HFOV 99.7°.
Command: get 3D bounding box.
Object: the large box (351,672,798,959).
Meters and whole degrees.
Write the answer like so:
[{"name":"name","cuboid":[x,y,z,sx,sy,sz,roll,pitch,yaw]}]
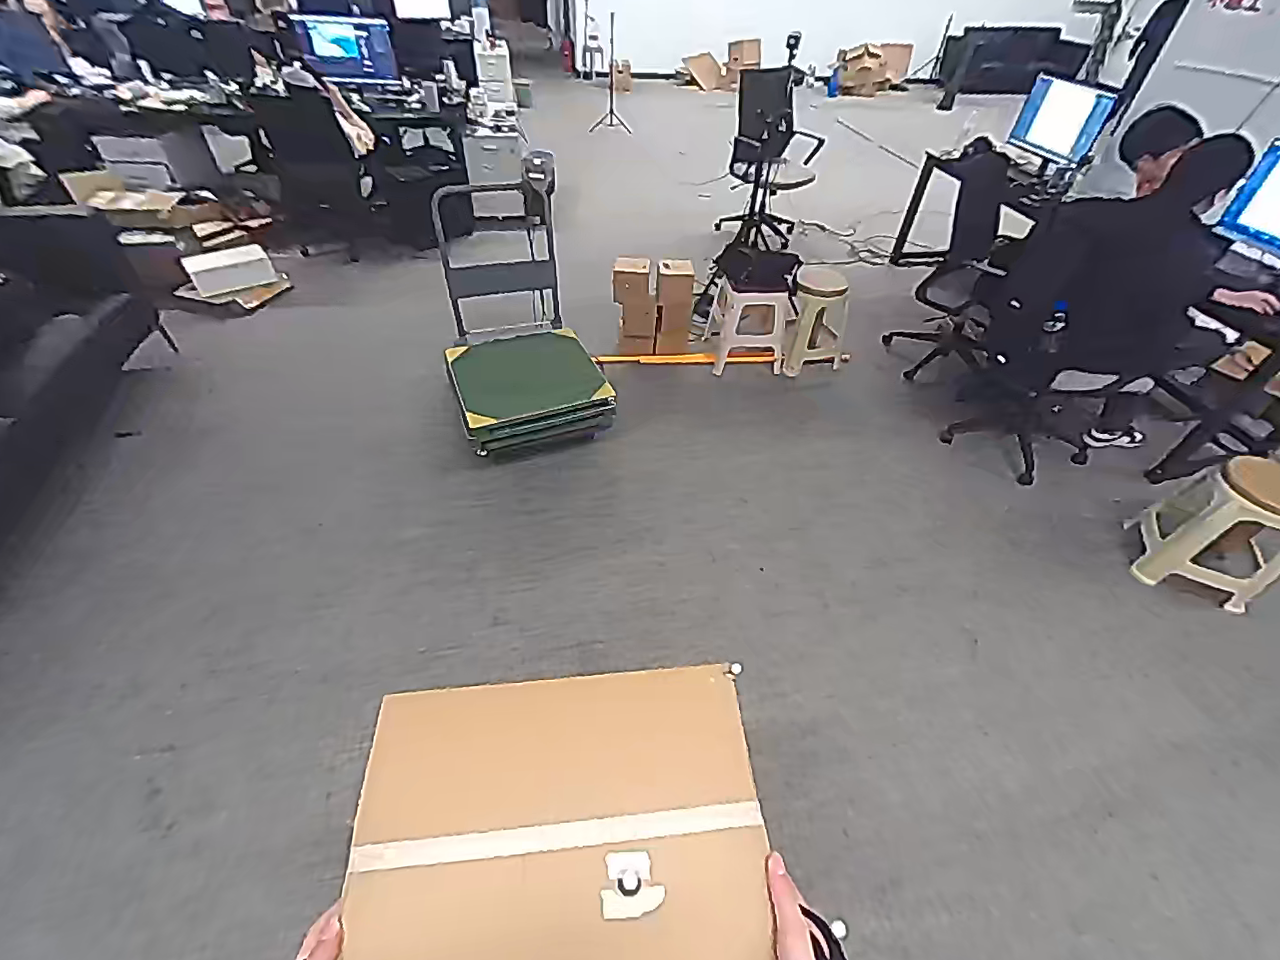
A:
[{"name":"large box","cuboid":[-0.071,0.461,0.650,0.408,0.320,0.320,-4,50,-4]}]
